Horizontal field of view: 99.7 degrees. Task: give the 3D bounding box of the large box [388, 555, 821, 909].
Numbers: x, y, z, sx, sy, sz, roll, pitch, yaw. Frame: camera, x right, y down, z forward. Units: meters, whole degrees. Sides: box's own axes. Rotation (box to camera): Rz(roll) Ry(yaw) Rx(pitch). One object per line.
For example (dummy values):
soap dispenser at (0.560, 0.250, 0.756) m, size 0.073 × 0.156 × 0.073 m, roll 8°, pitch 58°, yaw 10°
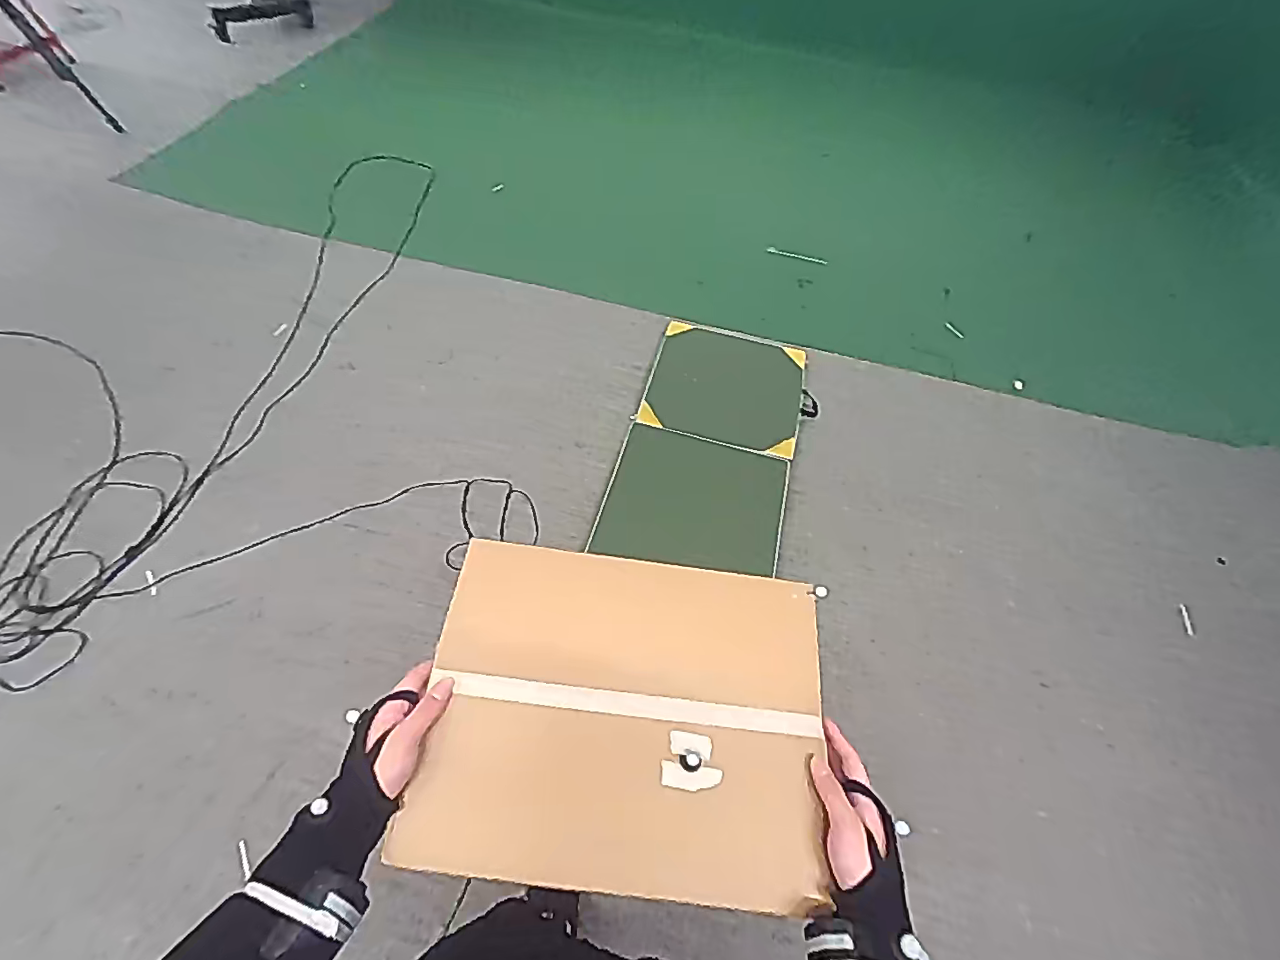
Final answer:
large box at (-0.033, 0.315, 0.690) m, size 0.408 × 0.320 × 0.320 m, roll 7°, pitch 60°, yaw -2°
